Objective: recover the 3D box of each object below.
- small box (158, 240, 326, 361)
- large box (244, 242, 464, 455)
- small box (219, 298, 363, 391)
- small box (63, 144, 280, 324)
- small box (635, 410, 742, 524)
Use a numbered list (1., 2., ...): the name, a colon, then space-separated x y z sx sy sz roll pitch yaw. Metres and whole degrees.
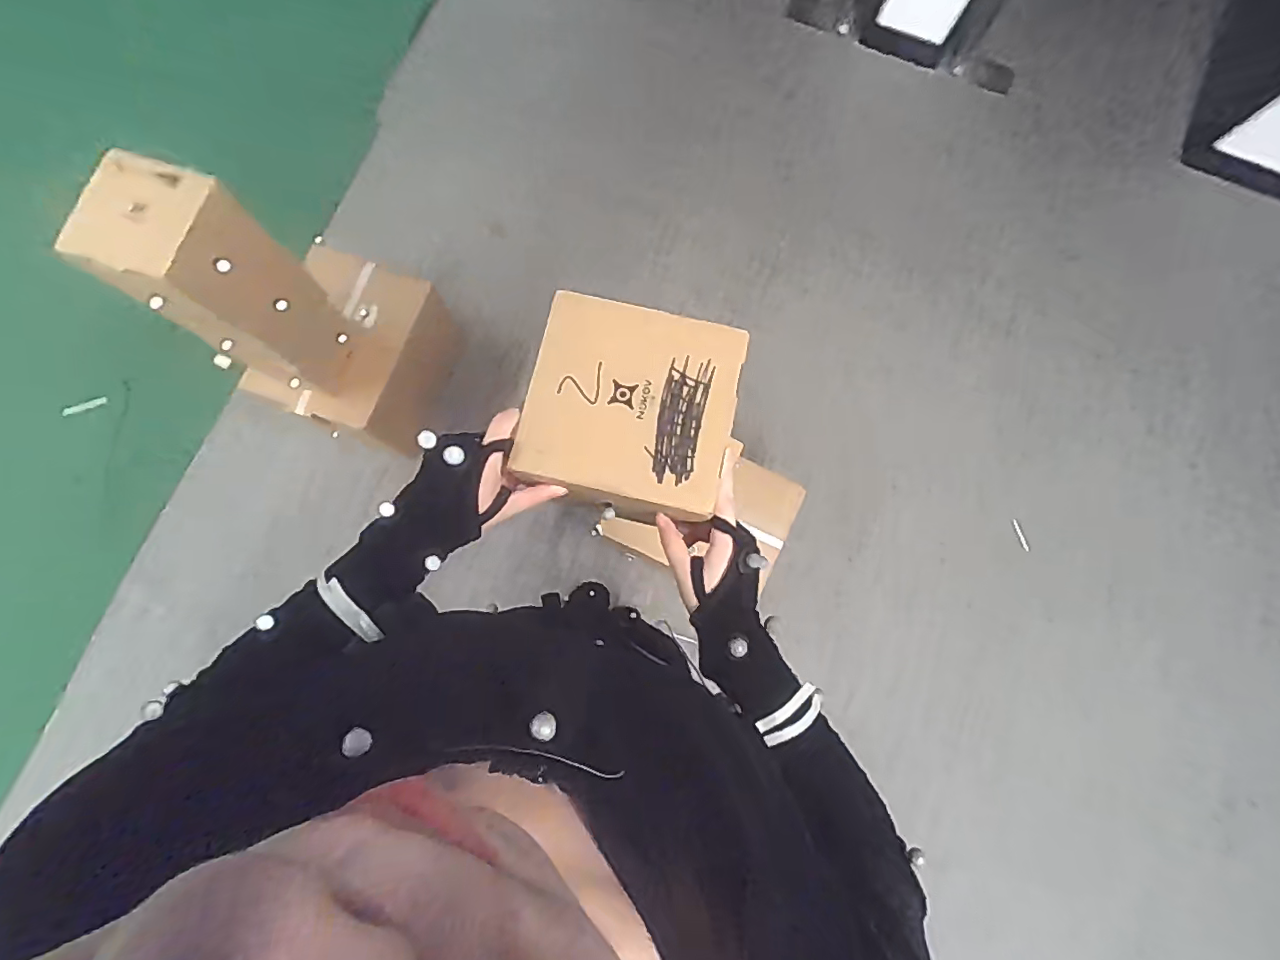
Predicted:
1. small box: -0.732 -0.347 1.020 0.168 0.176 0.179 15 78 -1
2. large box: -0.720 -0.326 1.431 0.320 0.320 0.408 20 78 0
3. small box: -0.745 -0.311 1.179 0.179 0.176 0.168 19 78 1
4. small box: -0.720 -0.376 0.858 0.168 0.176 0.179 17 79 -1
5. small box: 0.097 -0.018 1.179 0.168 0.176 0.179 27 77 1
